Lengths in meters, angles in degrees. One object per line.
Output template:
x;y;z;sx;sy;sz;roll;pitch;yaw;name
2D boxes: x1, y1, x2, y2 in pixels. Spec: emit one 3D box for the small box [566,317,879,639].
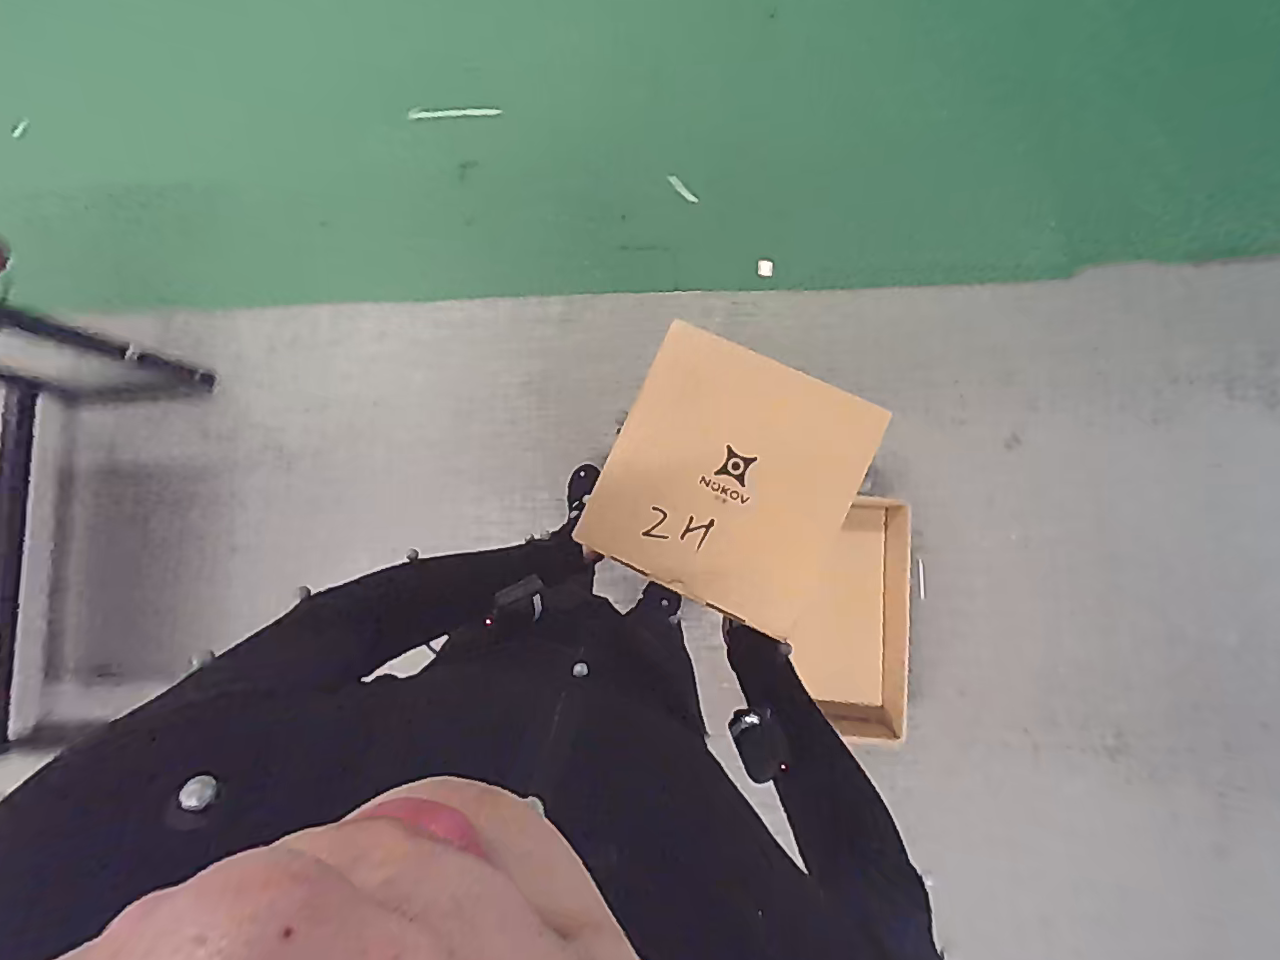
0.060;0.000;0.449;0.168;0.176;0.179;24;90;5;small box
